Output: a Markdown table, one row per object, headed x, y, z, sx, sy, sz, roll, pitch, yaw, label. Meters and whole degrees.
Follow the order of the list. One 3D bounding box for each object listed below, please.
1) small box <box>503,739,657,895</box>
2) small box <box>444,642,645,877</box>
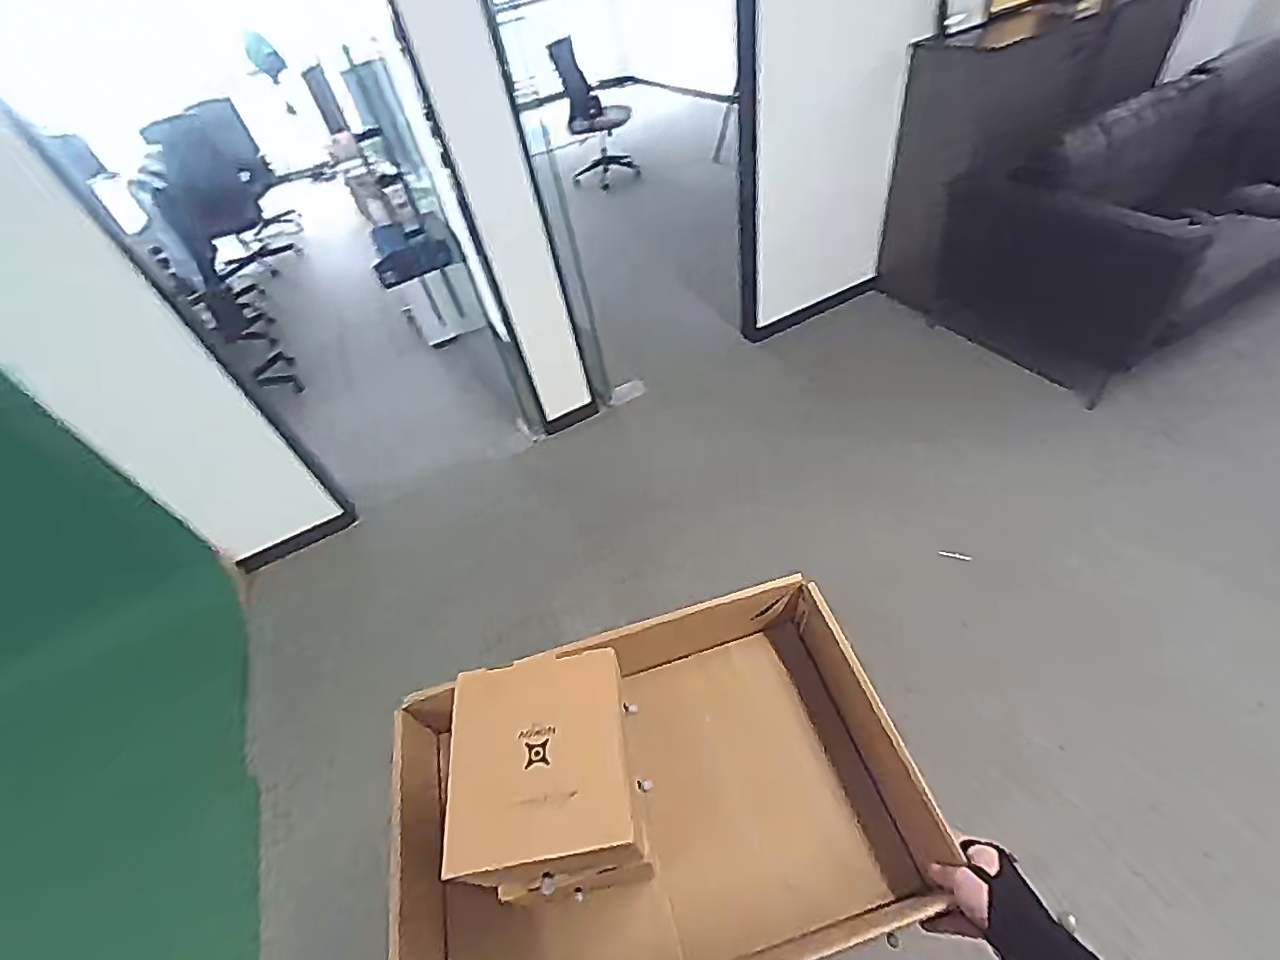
| x | y | z | sx | sy | sz | roll | pitch | yaw | label |
| --- | --- | --- | --- | --- | --- | --- | --- | --- | --- |
| -0.076 | 0.404 | 0.691 | 0.168 | 0.176 | 0.179 | -11 | 51 | -4 | small box |
| -0.089 | 0.296 | 0.569 | 0.168 | 0.176 | 0.179 | -8 | 51 | -1 | small box |
